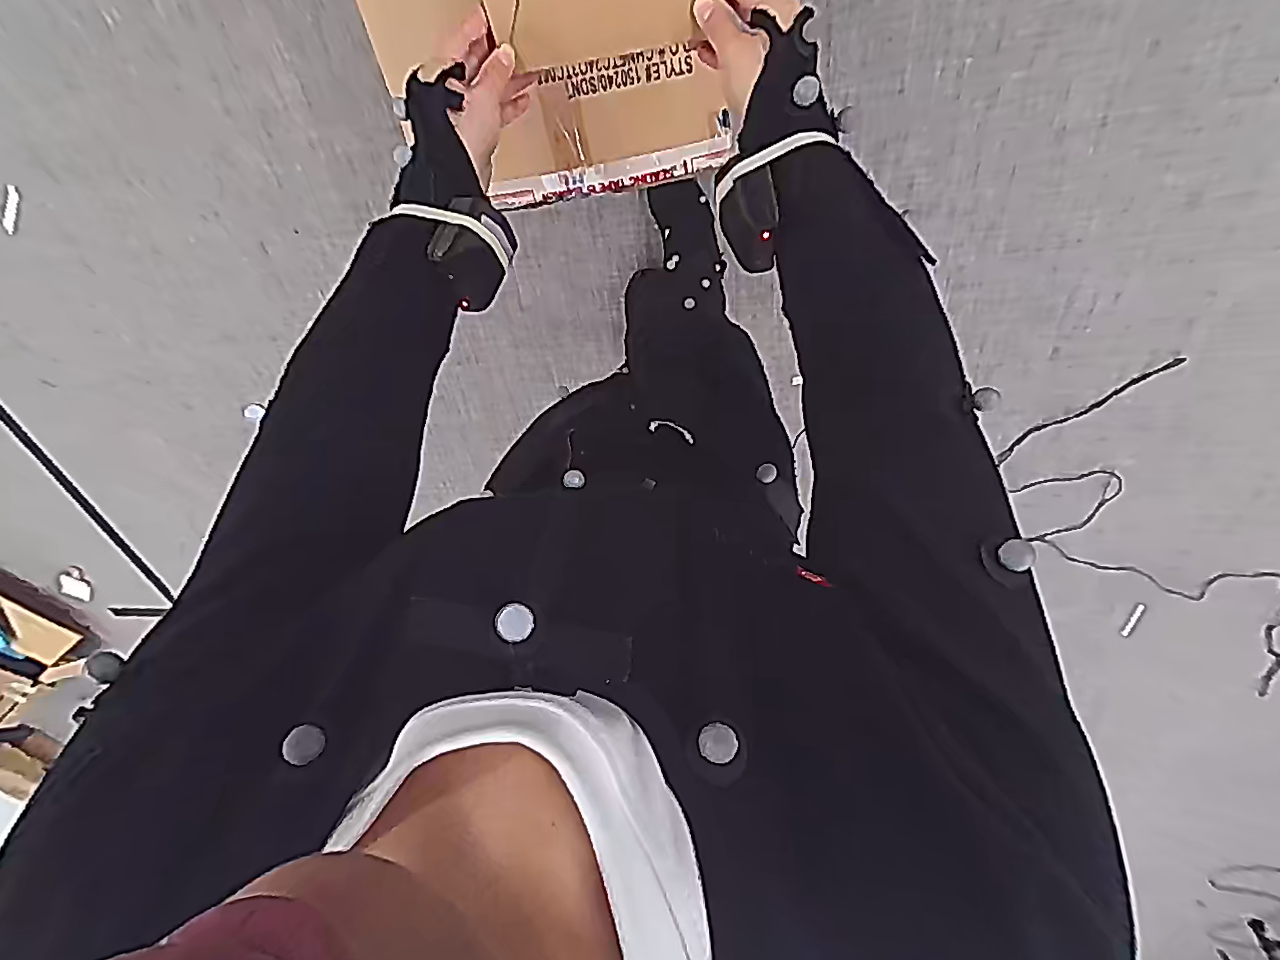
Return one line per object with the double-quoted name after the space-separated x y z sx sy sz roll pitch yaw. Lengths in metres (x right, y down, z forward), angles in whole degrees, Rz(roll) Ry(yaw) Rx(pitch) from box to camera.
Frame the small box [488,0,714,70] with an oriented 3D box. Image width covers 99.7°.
-0.033 -0.437 0.404 0.168 0.176 0.179 -4 137 9 "small box"
